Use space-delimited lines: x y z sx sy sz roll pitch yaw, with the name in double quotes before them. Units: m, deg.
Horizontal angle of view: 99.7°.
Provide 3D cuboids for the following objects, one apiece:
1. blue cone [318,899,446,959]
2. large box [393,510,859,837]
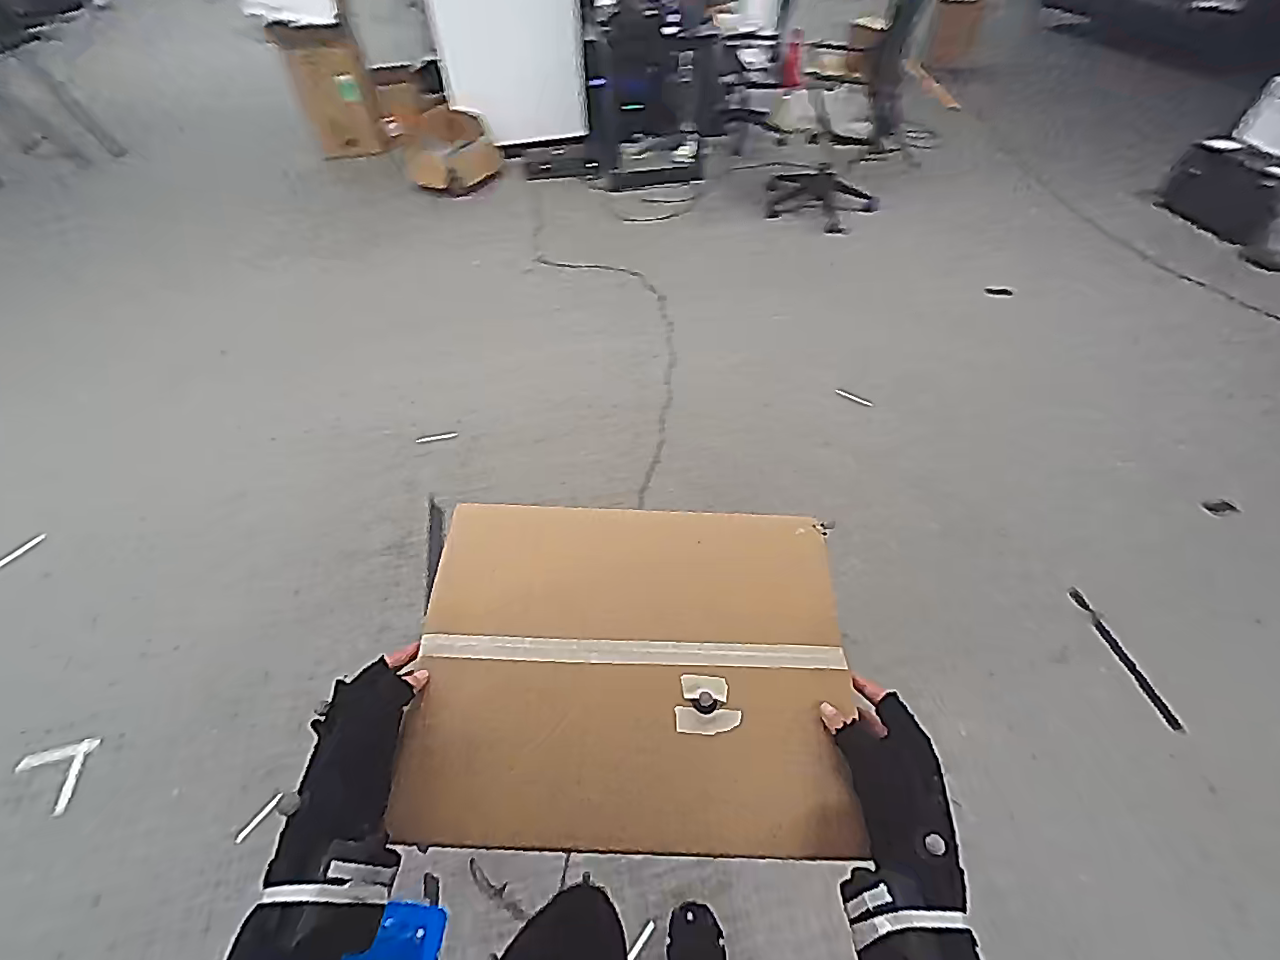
"blue cone" -0.514 0.885 0.983 0.193 0.380 0.192 6 52 7
"large box" -0.015 0.247 0.658 0.408 0.320 0.320 2 57 -1
